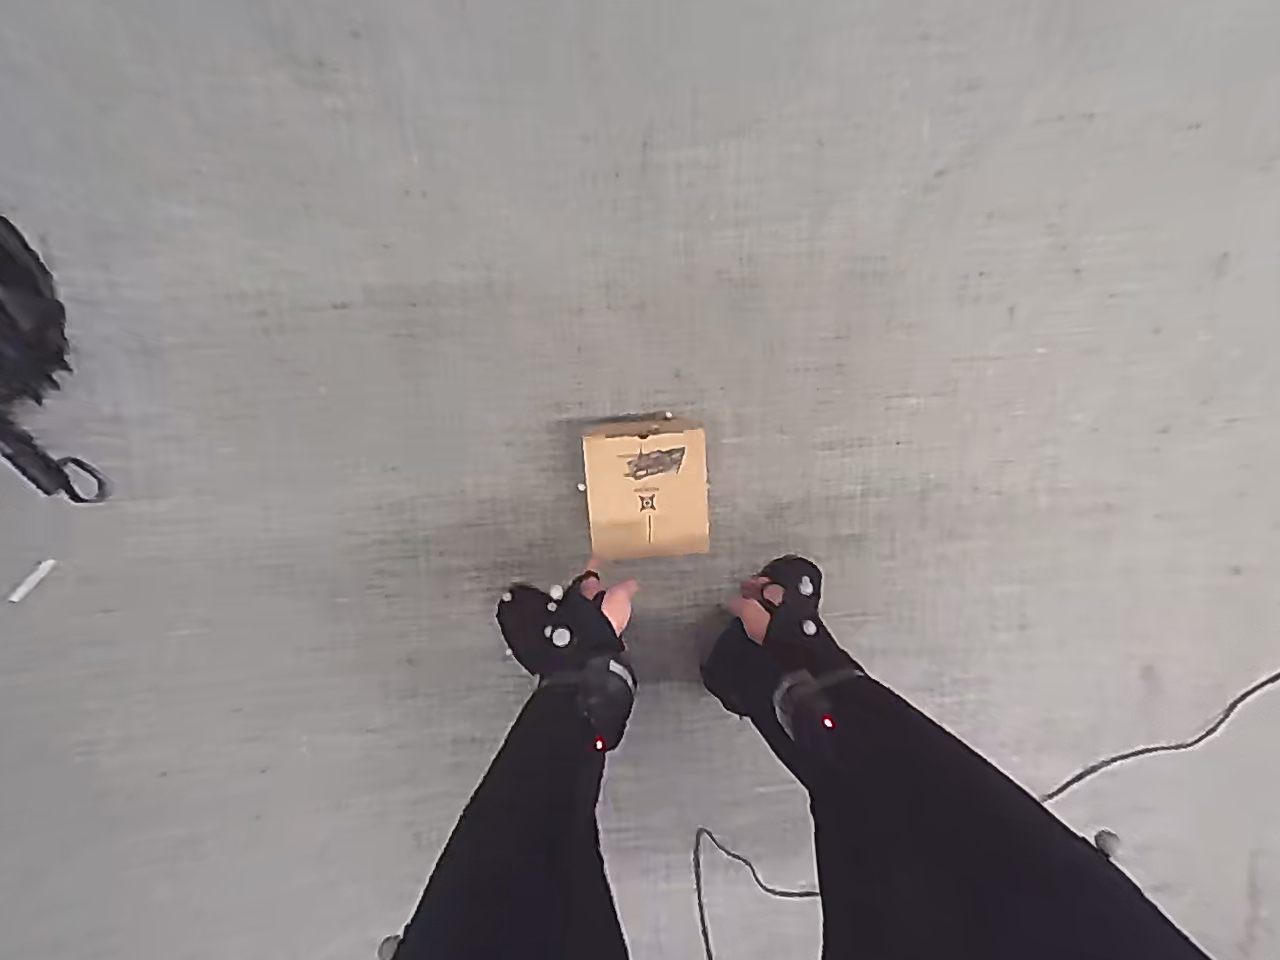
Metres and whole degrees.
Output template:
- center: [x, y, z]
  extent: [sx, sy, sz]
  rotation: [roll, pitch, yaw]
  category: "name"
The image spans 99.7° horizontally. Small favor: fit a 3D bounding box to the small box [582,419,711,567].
- center: [0.004, 0.008, 0.783]
  extent: [0.168, 0.176, 0.179]
  rotation: [-4, 105, -3]
  category: "small box"
